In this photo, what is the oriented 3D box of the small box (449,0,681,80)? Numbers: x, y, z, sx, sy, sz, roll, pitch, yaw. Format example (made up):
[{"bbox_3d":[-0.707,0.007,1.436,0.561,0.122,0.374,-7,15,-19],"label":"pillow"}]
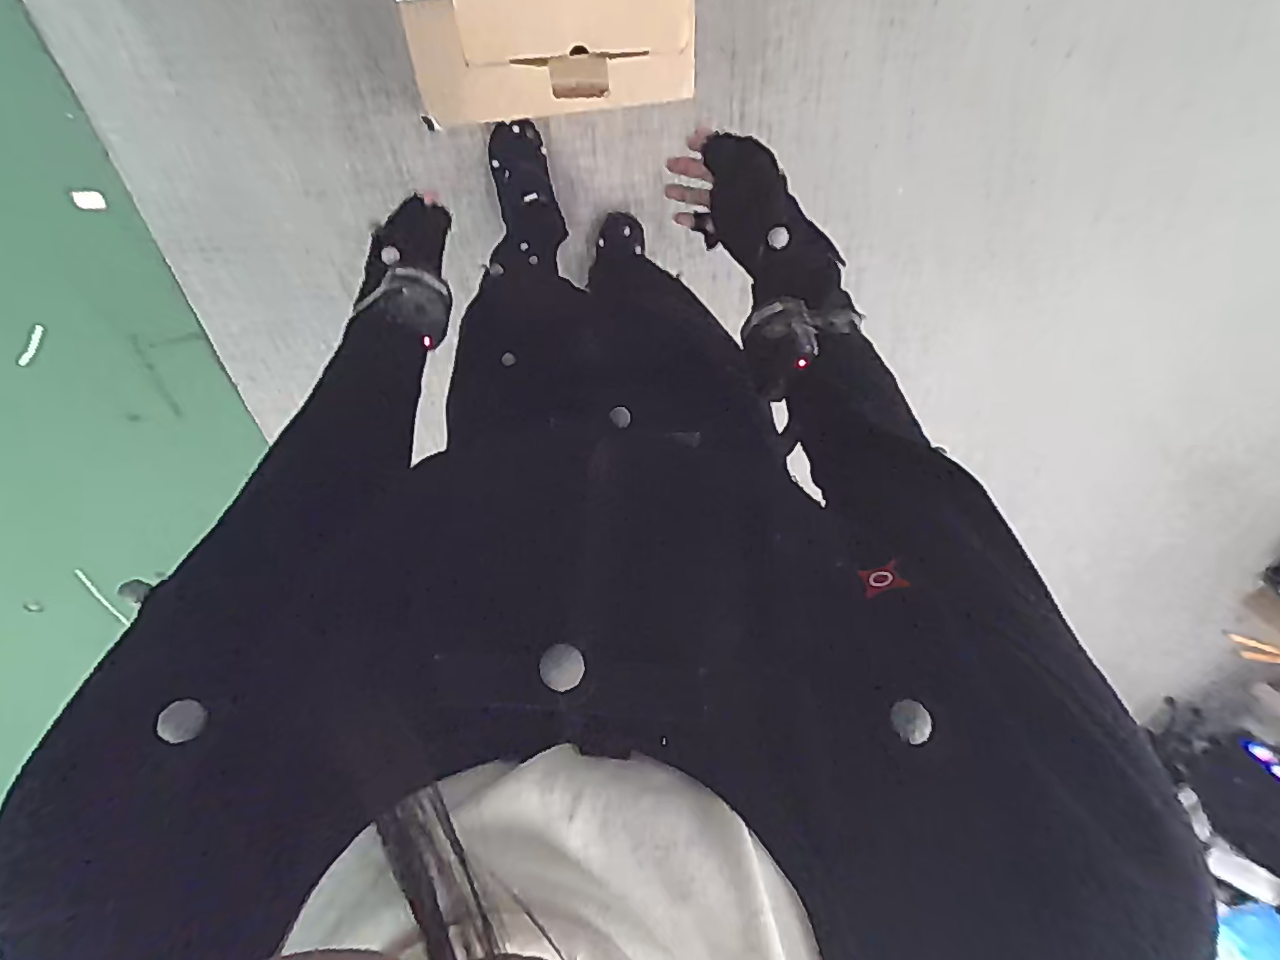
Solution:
[{"bbox_3d":[-0.064,-0.424,0.403,0.168,0.176,0.179,-9,134,-5],"label":"small box"}]
